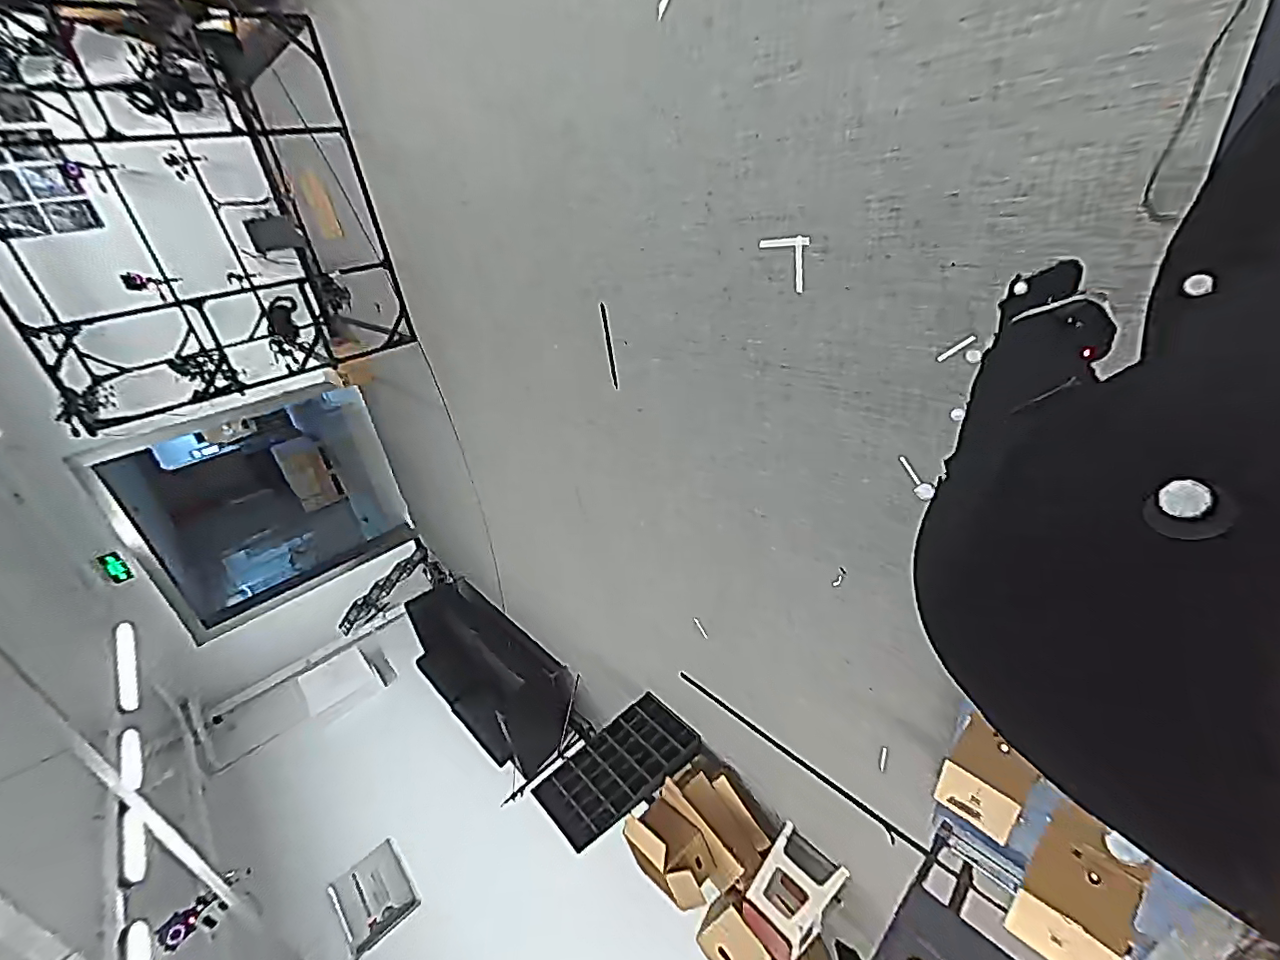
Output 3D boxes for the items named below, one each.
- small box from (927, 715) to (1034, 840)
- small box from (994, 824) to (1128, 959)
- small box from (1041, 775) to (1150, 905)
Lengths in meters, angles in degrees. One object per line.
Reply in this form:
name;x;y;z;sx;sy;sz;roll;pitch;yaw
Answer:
small box;0.852;0.738;1.355;0.168;0.176;0.179;25;133;41
small box;0.876;0.877;1.128;0.168;0.176;0.179;23;131;43
small box;1.002;0.809;1.208;0.168;0.176;0.179;21;130;45
